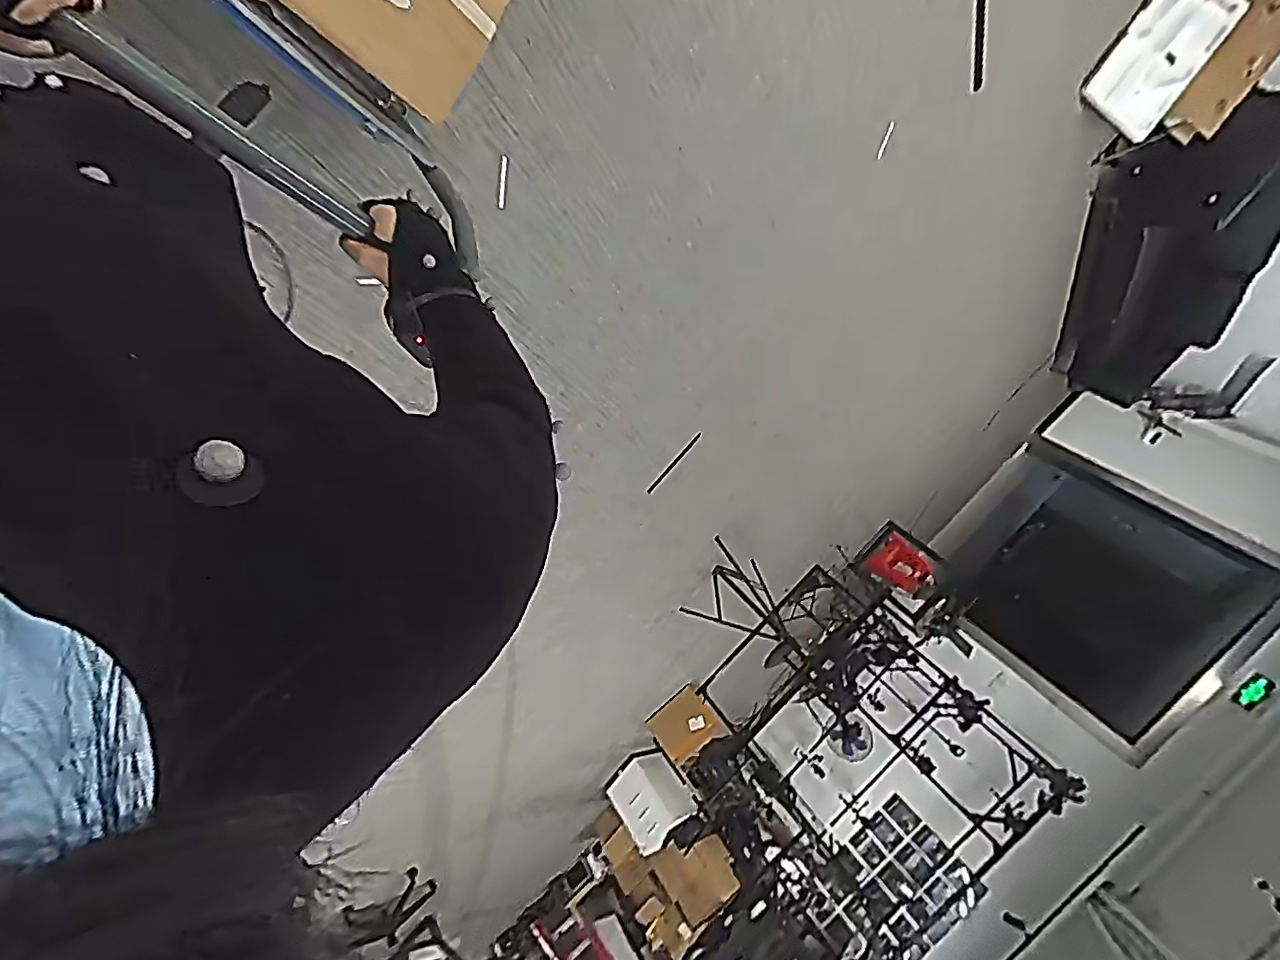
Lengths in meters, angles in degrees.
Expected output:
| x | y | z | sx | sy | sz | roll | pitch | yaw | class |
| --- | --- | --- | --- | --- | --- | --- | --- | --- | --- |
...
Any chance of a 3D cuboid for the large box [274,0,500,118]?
| x | y | z | sx | sy | sz | roll | pitch | yaw | class |
| --- | --- | --- | --- | --- | --- | --- | --- | --- | --- |
| -0.427 | -0.809 | 0.734 | 0.320 | 0.320 | 0.408 | -49 | 145 | 17 | large box |
